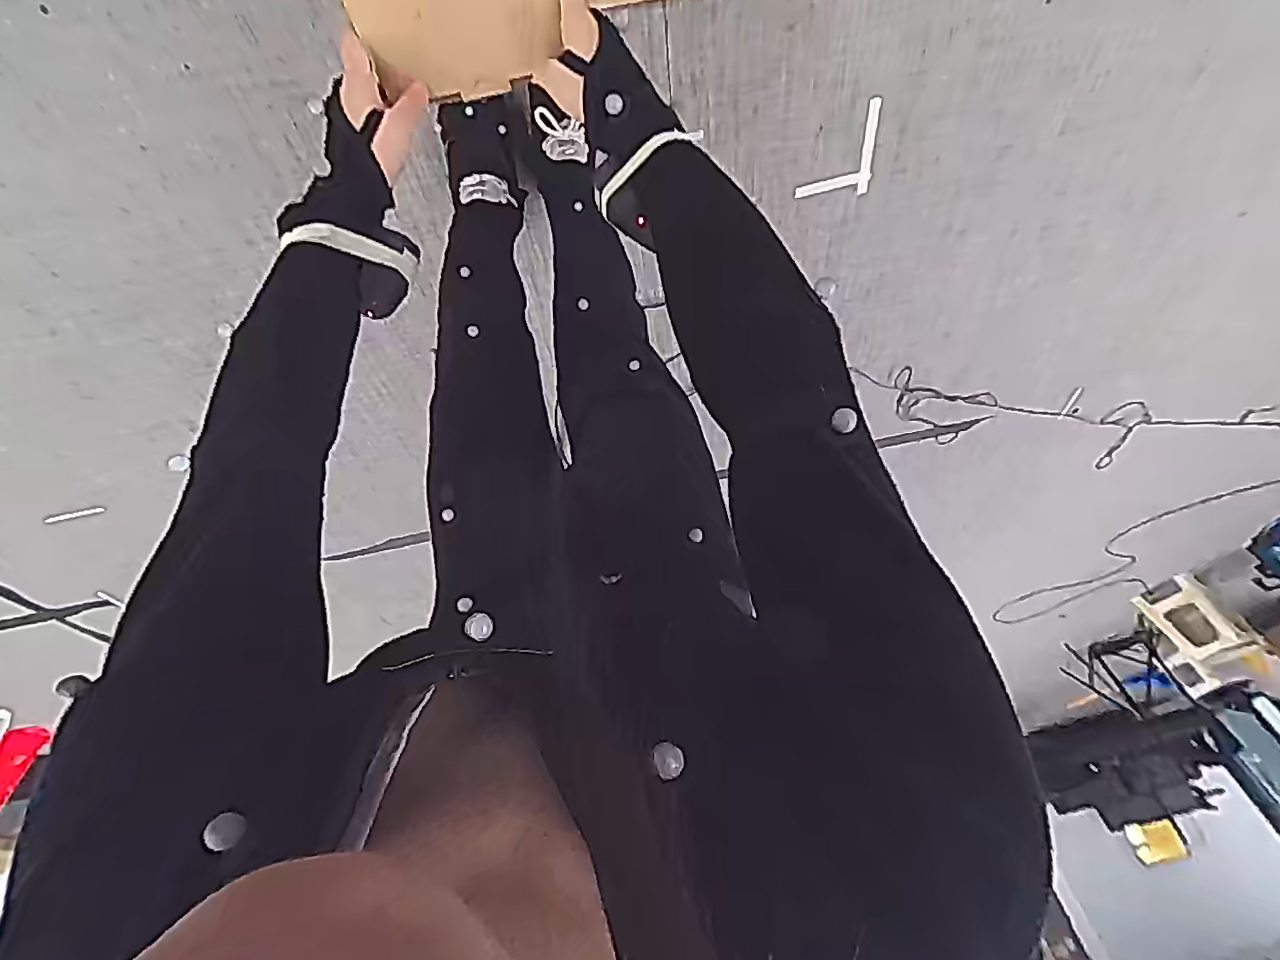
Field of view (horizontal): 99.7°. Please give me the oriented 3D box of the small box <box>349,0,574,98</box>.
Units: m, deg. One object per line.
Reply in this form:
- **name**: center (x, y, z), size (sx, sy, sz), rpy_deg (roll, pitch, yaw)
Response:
- **small box**: center (-0.156, -0.456, 0.441), size (0.168, 0.176, 0.179), rpy_deg (-12, 142, 3)
